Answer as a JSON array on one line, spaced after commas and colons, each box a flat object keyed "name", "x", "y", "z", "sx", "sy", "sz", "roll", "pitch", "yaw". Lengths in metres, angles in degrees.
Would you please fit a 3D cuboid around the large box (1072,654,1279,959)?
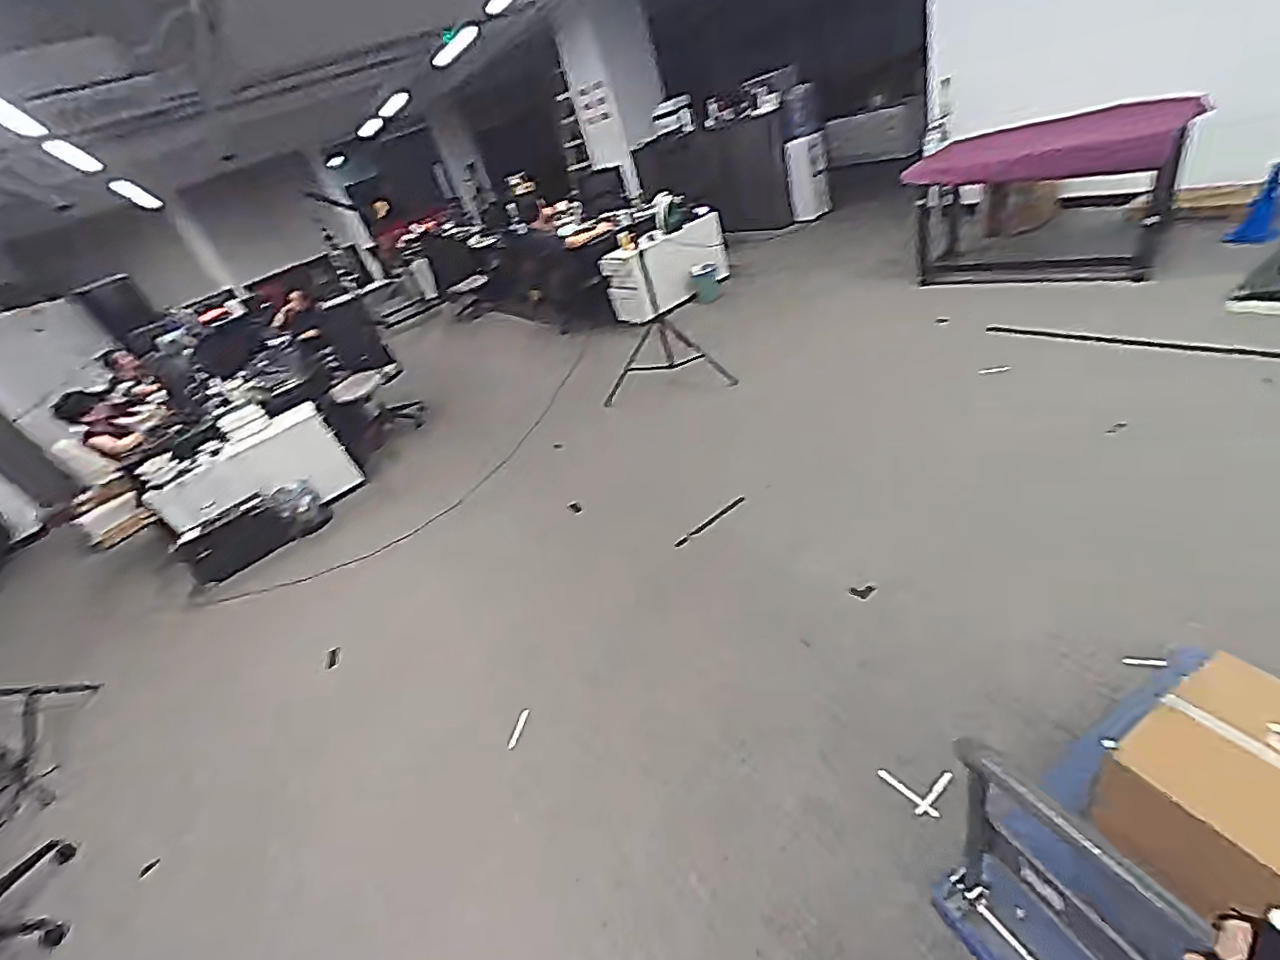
[{"name": "large box", "x": 1.030, "y": 0.582, "z": 0.878, "sx": 0.320, "sy": 0.320, "sz": 0.408, "roll": -30, "pitch": 33, "yaw": -14}]
